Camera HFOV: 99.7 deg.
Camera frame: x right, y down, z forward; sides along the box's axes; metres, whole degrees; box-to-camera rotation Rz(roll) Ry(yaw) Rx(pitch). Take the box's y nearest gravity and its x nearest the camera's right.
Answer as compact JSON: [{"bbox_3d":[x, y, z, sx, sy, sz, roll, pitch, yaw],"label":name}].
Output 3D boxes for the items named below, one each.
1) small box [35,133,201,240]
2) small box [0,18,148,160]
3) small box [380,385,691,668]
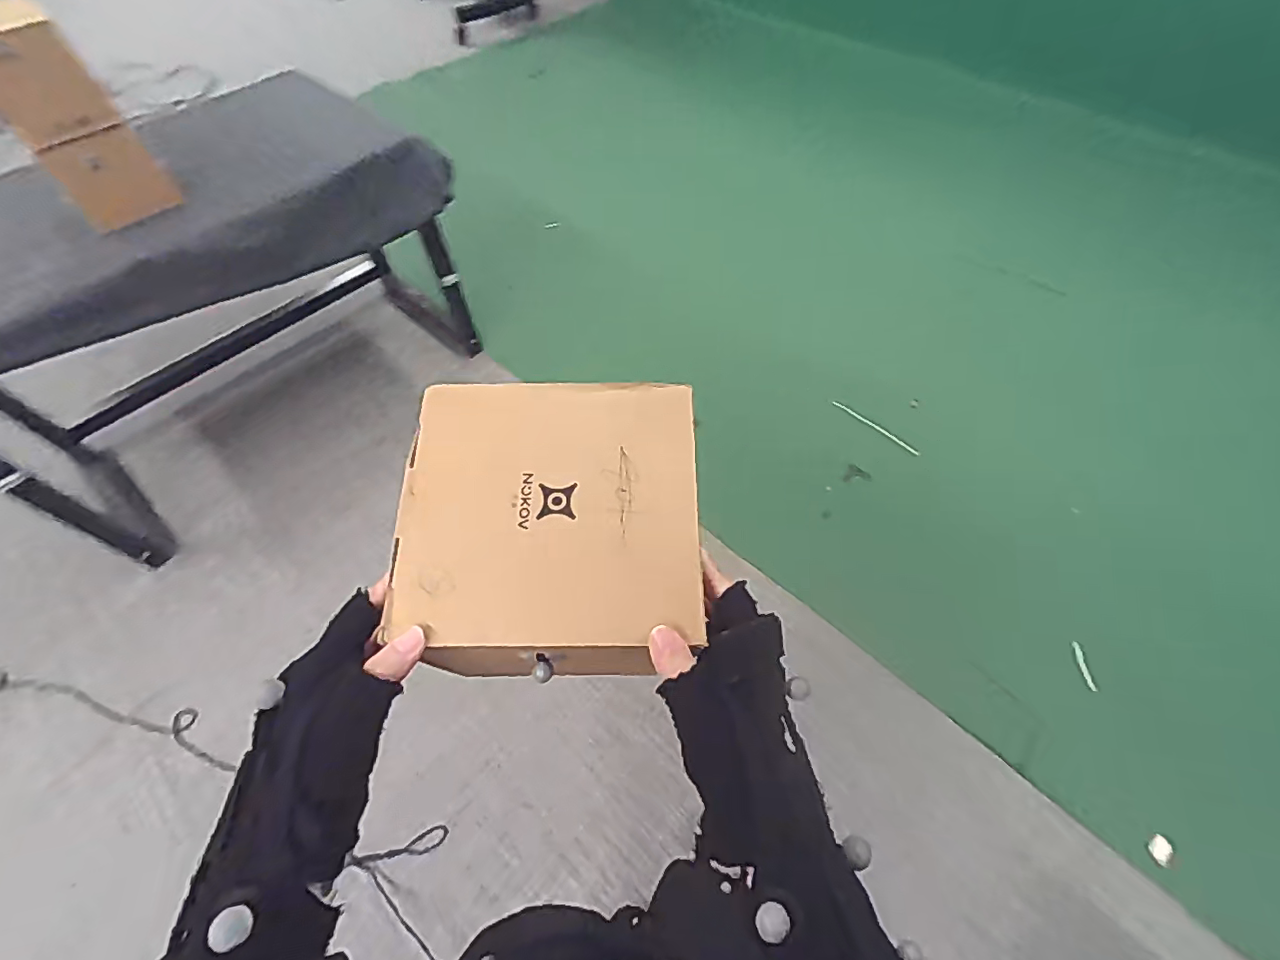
[{"bbox_3d":[-1.119,-0.654,1.171,0.168,0.176,0.179,38,64,23],"label":"small box"},{"bbox_3d":[-1.120,-0.750,1.041,0.179,0.176,0.168,37,63,22],"label":"small box"},{"bbox_3d":[-0.060,0.045,0.404,0.179,0.176,0.168,-1,65,-2],"label":"small box"}]
